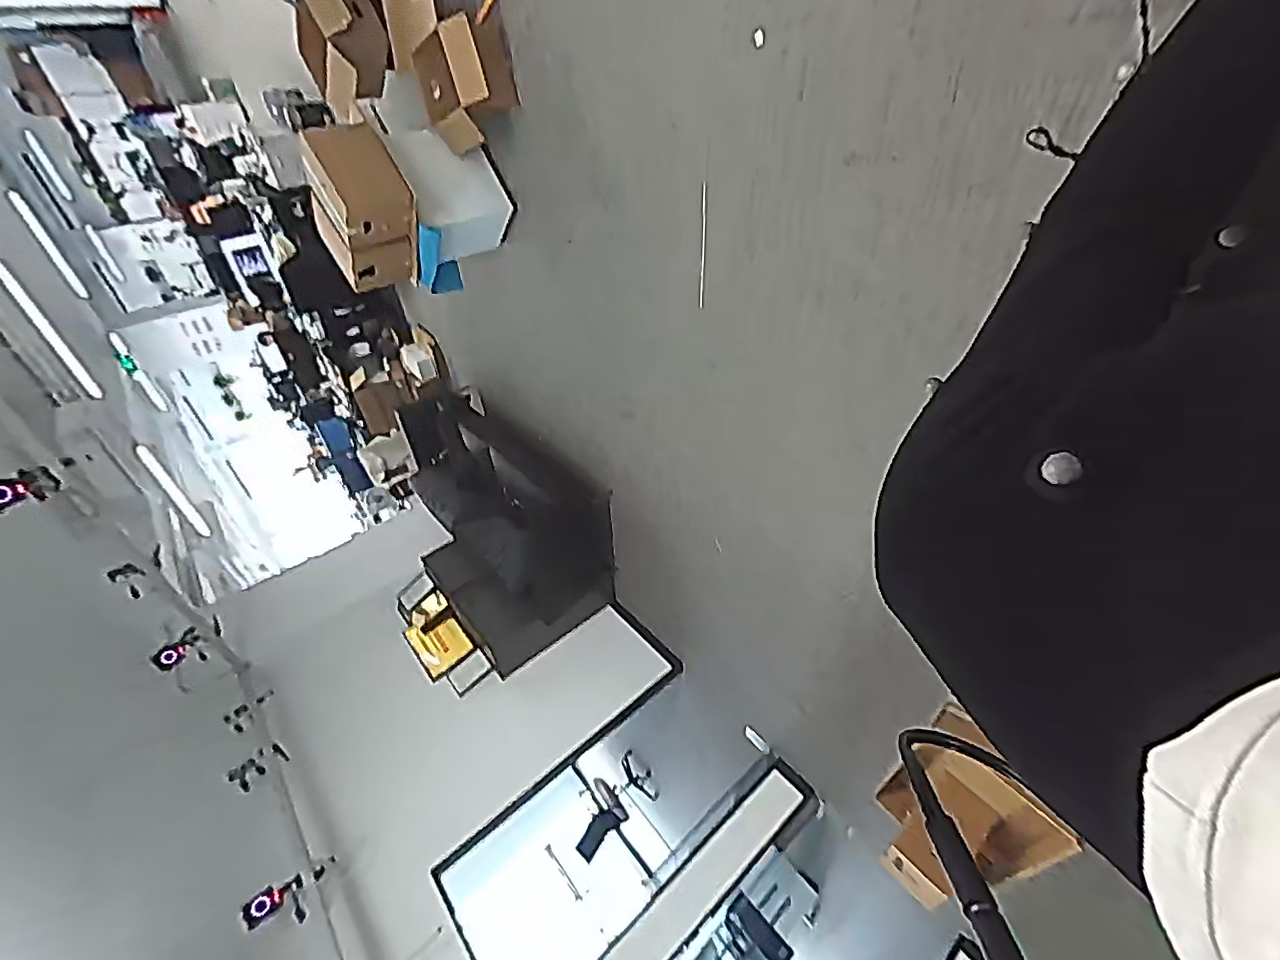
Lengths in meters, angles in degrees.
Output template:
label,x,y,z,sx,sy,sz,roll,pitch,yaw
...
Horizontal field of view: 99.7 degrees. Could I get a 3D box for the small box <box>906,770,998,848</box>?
label,x,y,z,sx,sy,sz,roll,pitch,yaw
small box,1.014,1.081,1.760,0.179,0.176,0.168,37,144,34

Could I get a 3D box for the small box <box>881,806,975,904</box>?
label,x,y,z,sx,sy,sz,roll,pitch,yaw
small box,0.891,1.152,1.677,0.179,0.176,0.168,35,143,34
